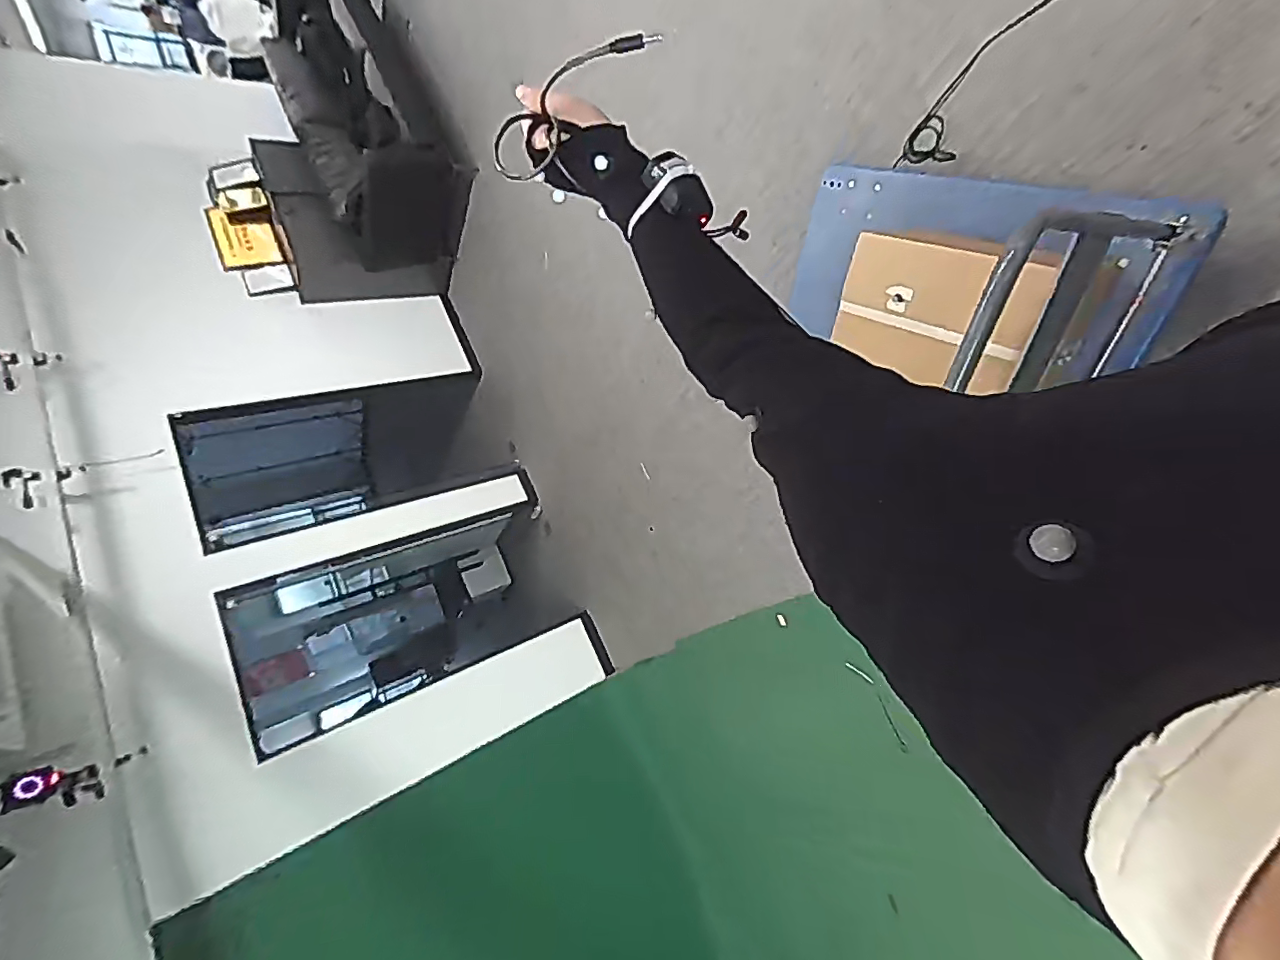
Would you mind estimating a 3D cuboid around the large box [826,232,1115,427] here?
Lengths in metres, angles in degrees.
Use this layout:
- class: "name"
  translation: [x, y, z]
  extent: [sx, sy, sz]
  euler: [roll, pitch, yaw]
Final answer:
- class: "large box"
  translation: [0.704, -0.357, 1.199]
  extent: [0.408, 0.320, 0.320]
  euler: [38, 133, 42]
